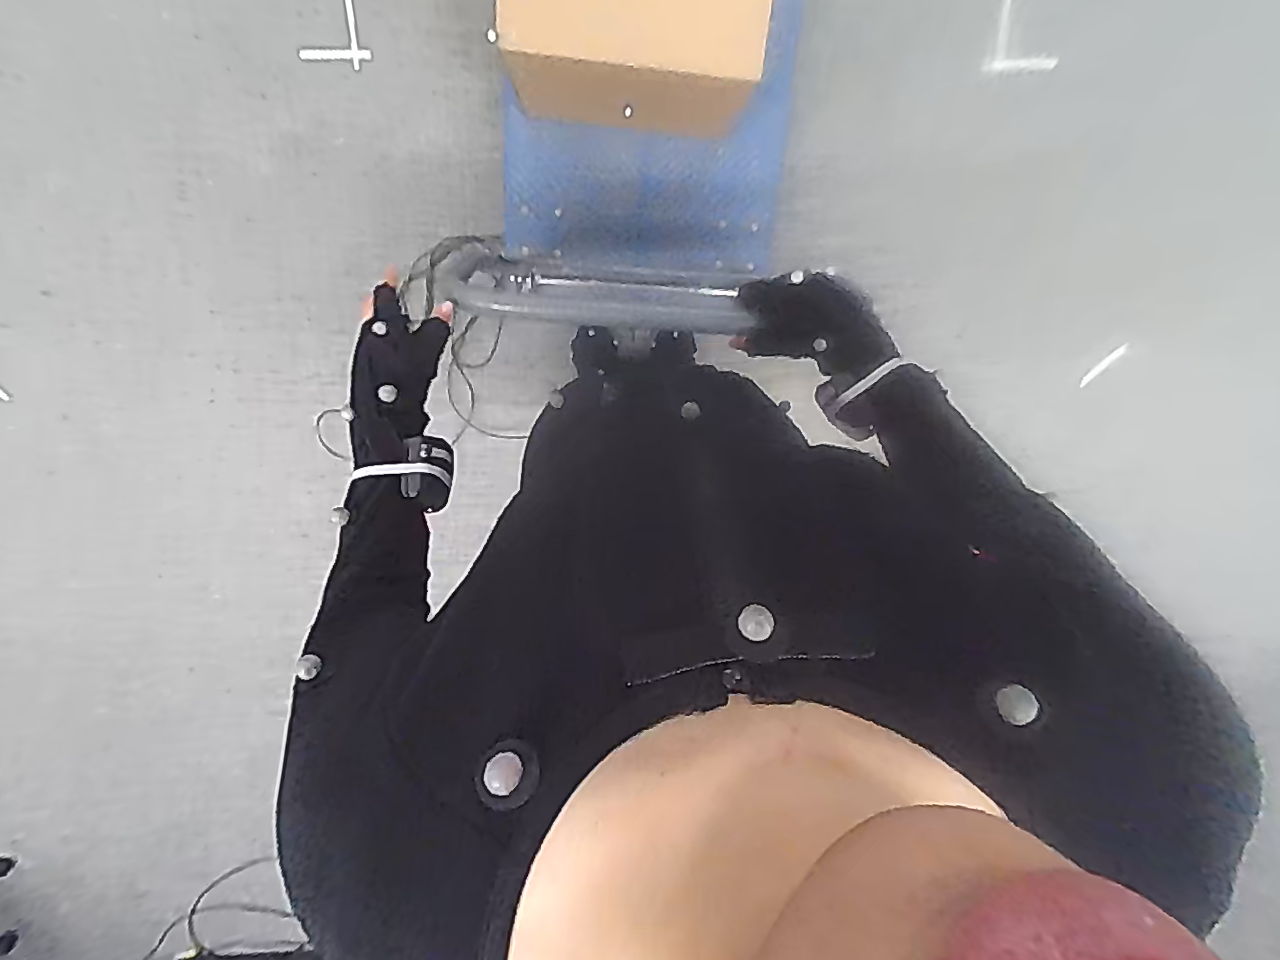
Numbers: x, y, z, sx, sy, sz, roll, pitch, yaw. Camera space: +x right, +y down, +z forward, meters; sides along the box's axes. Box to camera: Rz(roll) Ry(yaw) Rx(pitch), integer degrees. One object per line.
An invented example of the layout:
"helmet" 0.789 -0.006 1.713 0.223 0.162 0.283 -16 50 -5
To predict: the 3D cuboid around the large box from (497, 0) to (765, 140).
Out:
"large box" -0.011 -0.813 0.928 0.408 0.320 0.320 4 107 -3
